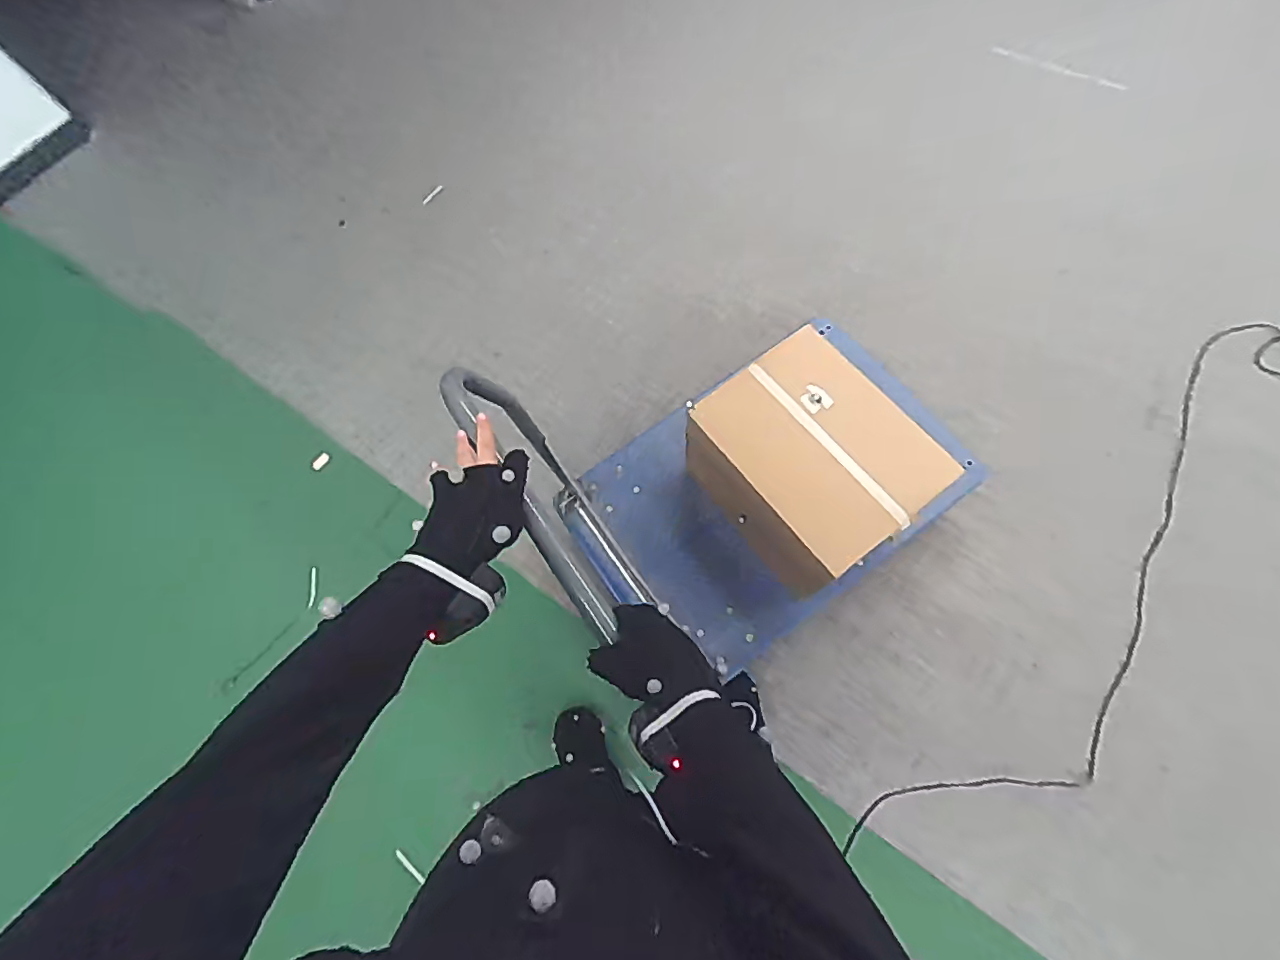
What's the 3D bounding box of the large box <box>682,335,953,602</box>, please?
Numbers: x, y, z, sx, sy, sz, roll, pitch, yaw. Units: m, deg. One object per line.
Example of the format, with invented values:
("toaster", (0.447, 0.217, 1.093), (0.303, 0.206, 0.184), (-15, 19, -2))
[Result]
("large box", (0.336, -0.010, 1.140), (0.320, 0.320, 0.408), (-36, 70, -10))
